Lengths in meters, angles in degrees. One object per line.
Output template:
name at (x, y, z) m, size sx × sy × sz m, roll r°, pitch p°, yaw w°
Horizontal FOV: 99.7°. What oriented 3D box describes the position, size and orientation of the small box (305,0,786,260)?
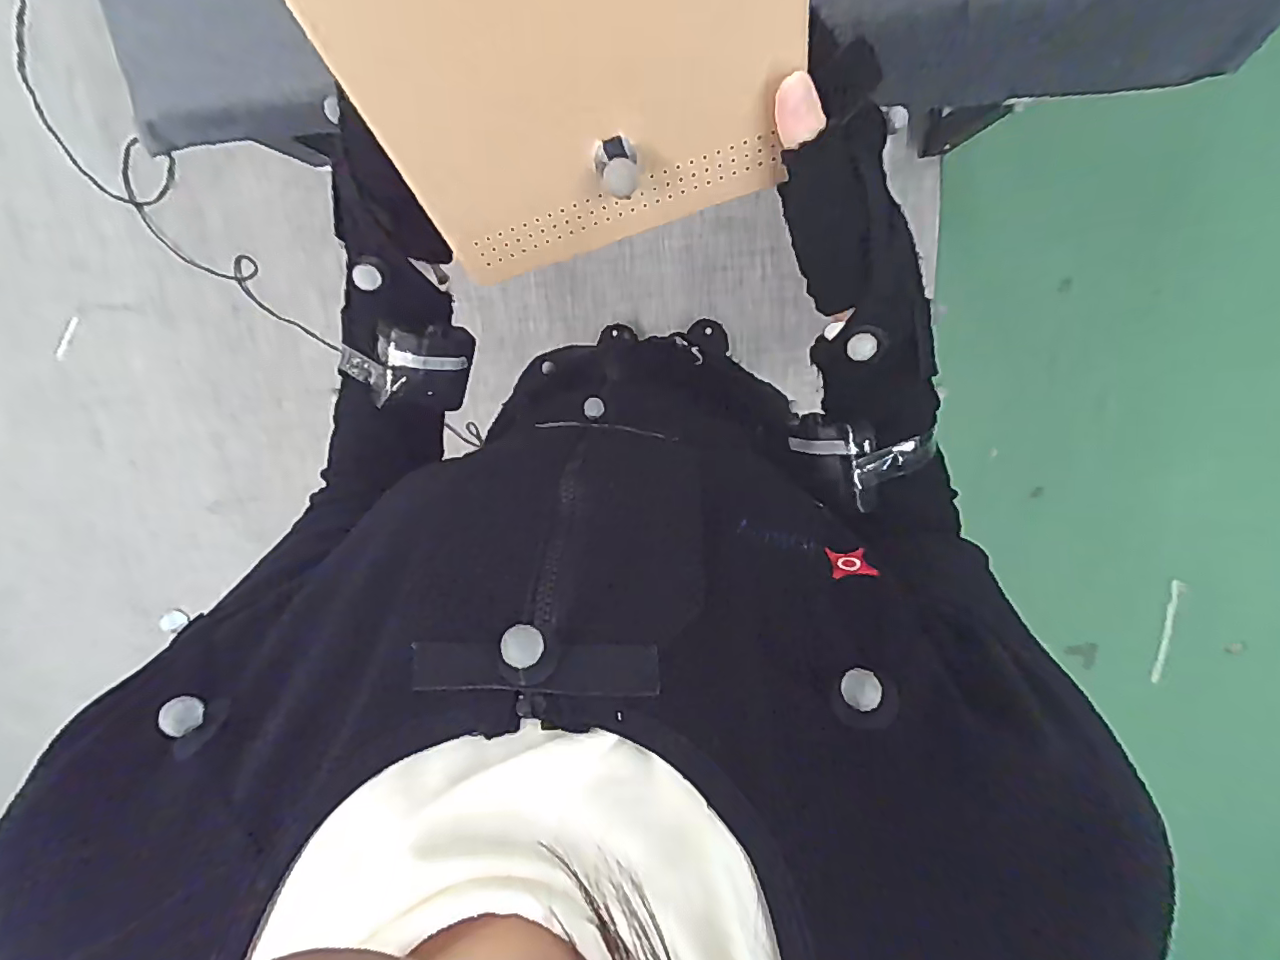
small box at (-0.039, -0.238, 0.244) m, size 0.179 × 0.176 × 0.168 m, roll -17°, pitch 62°, yaw 6°
